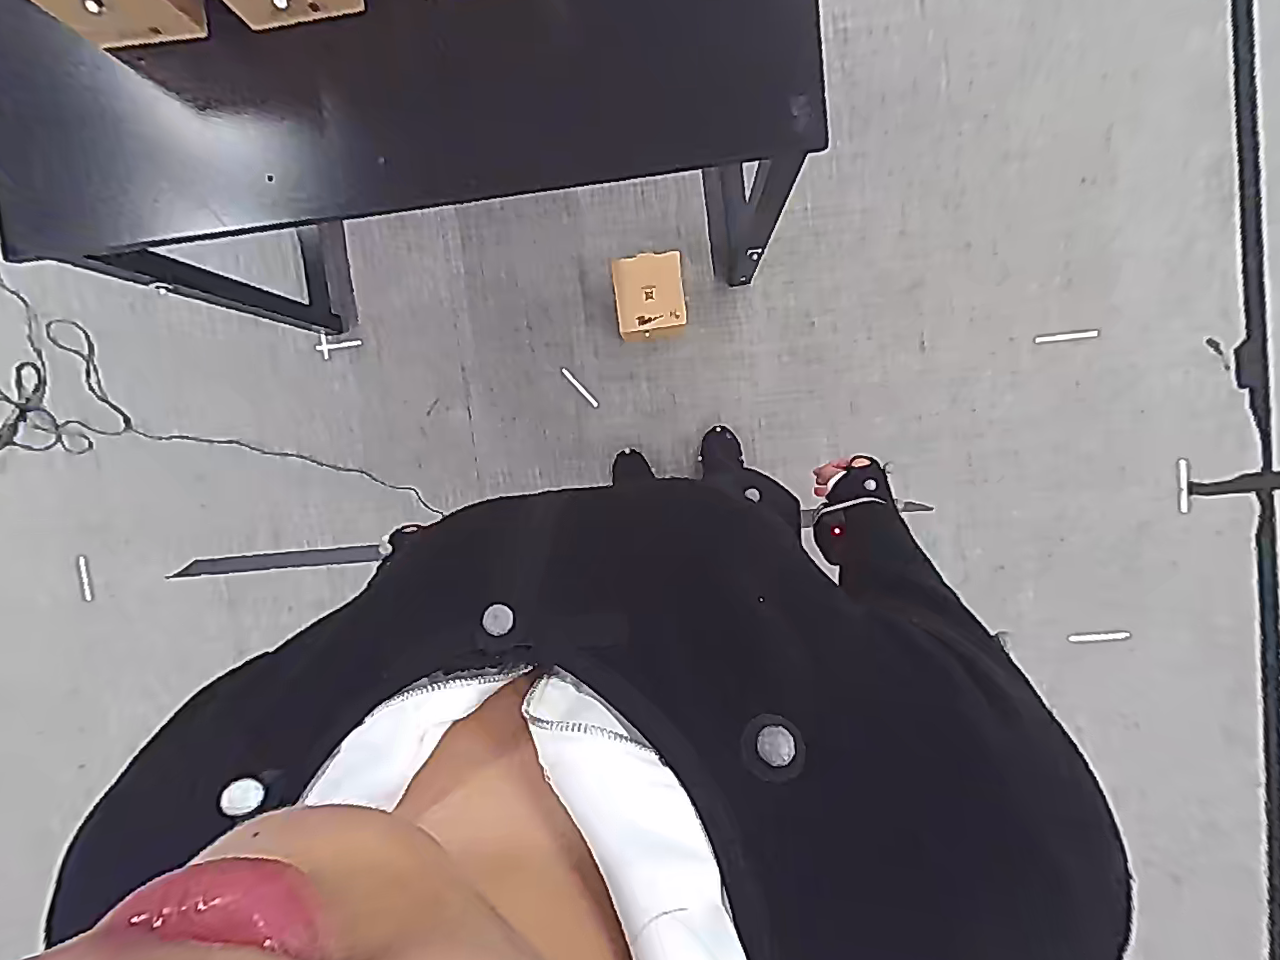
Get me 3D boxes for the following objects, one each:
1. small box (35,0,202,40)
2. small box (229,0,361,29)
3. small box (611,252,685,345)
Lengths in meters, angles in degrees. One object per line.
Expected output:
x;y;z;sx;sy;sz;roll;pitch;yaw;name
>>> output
-0.696;-0.695;0.676;0.168;0.176;0.179;-3;94;3;small box
-0.473;-0.710;0.658;0.168;0.176;0.179;-7;95;4;small box
0.025;-0.455;1.377;0.168;0.176;0.179;-6;94;5;small box
